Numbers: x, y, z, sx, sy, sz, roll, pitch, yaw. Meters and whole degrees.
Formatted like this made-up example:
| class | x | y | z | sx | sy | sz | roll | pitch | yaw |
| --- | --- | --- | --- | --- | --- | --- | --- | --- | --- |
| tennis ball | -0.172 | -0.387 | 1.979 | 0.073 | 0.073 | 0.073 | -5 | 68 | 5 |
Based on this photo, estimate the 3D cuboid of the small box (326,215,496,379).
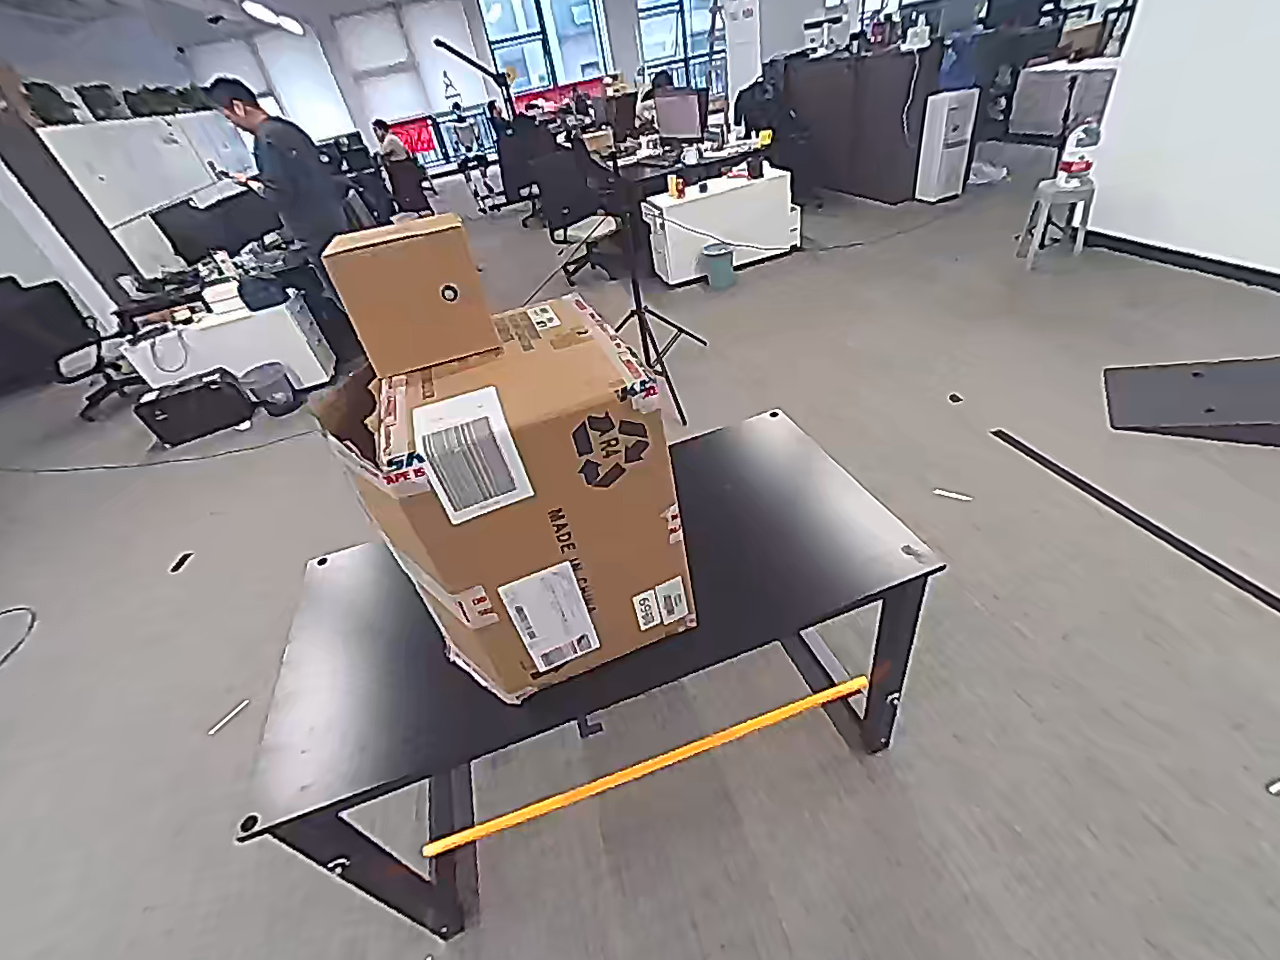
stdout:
| class | x | y | z | sx | sy | sz | roll | pitch | yaw |
| --- | --- | --- | --- | --- | --- | --- | --- | --- | --- |
| small box | -0.320 | -0.269 | 0.790 | 0.179 | 0.176 | 0.168 | -20 | 35 | -11 |
